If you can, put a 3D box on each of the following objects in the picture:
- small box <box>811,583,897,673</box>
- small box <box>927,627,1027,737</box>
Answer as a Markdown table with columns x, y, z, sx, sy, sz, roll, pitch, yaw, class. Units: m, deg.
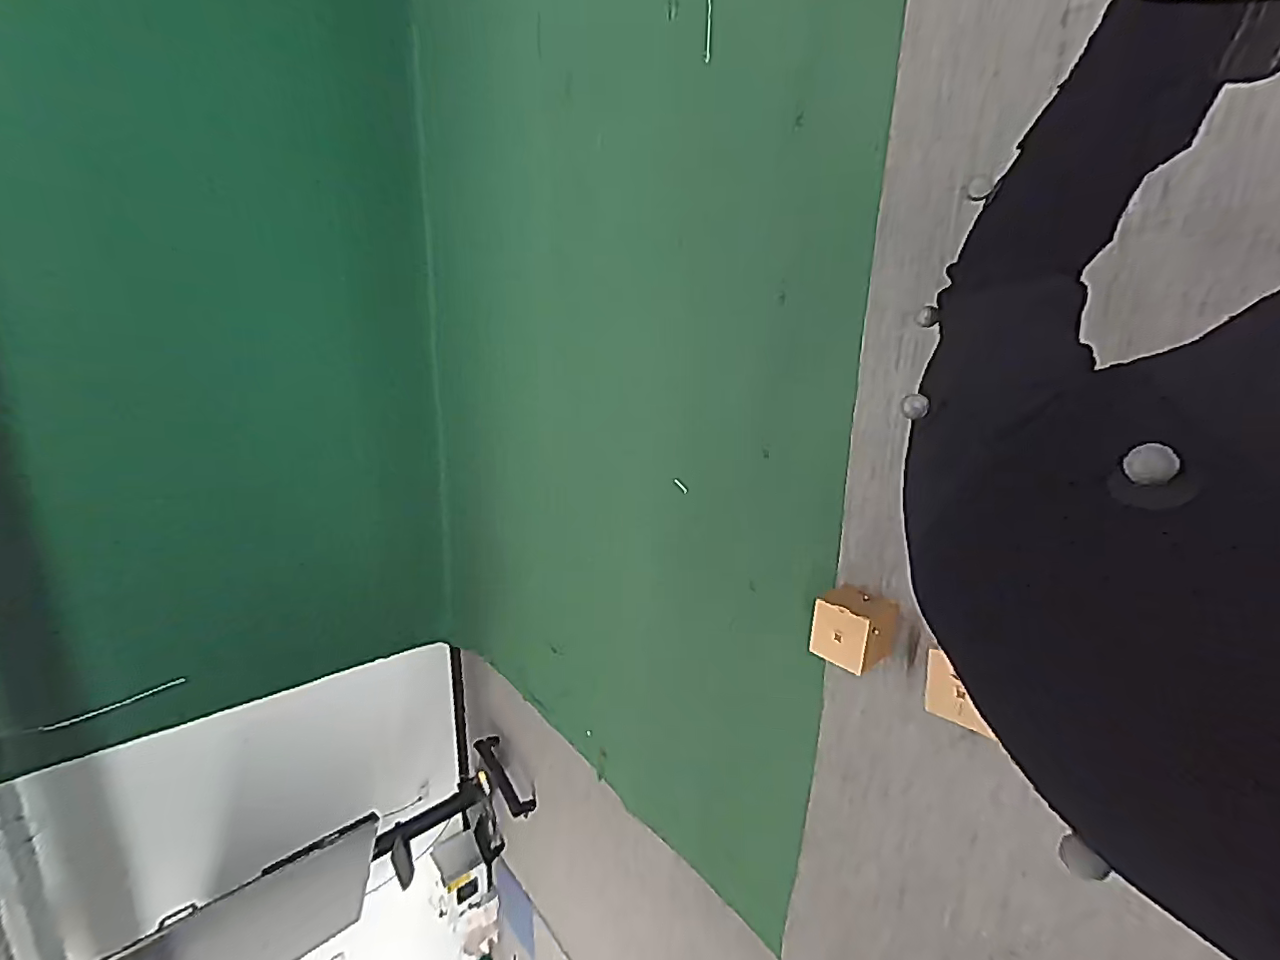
| x | y | z | sx | sy | sz | roll | pitch | yaw | class |
| --- | --- | --- | --- | --- | --- | --- | --- | --- | --- |
| 0.625 | 0.424 | 1.577 | 0.168 | 0.176 | 0.179 | 17 | 110 | 46 | small box |
| 0.836 | 0.487 | 1.339 | 0.168 | 0.176 | 0.179 | 11 | 106 | 49 | small box |
